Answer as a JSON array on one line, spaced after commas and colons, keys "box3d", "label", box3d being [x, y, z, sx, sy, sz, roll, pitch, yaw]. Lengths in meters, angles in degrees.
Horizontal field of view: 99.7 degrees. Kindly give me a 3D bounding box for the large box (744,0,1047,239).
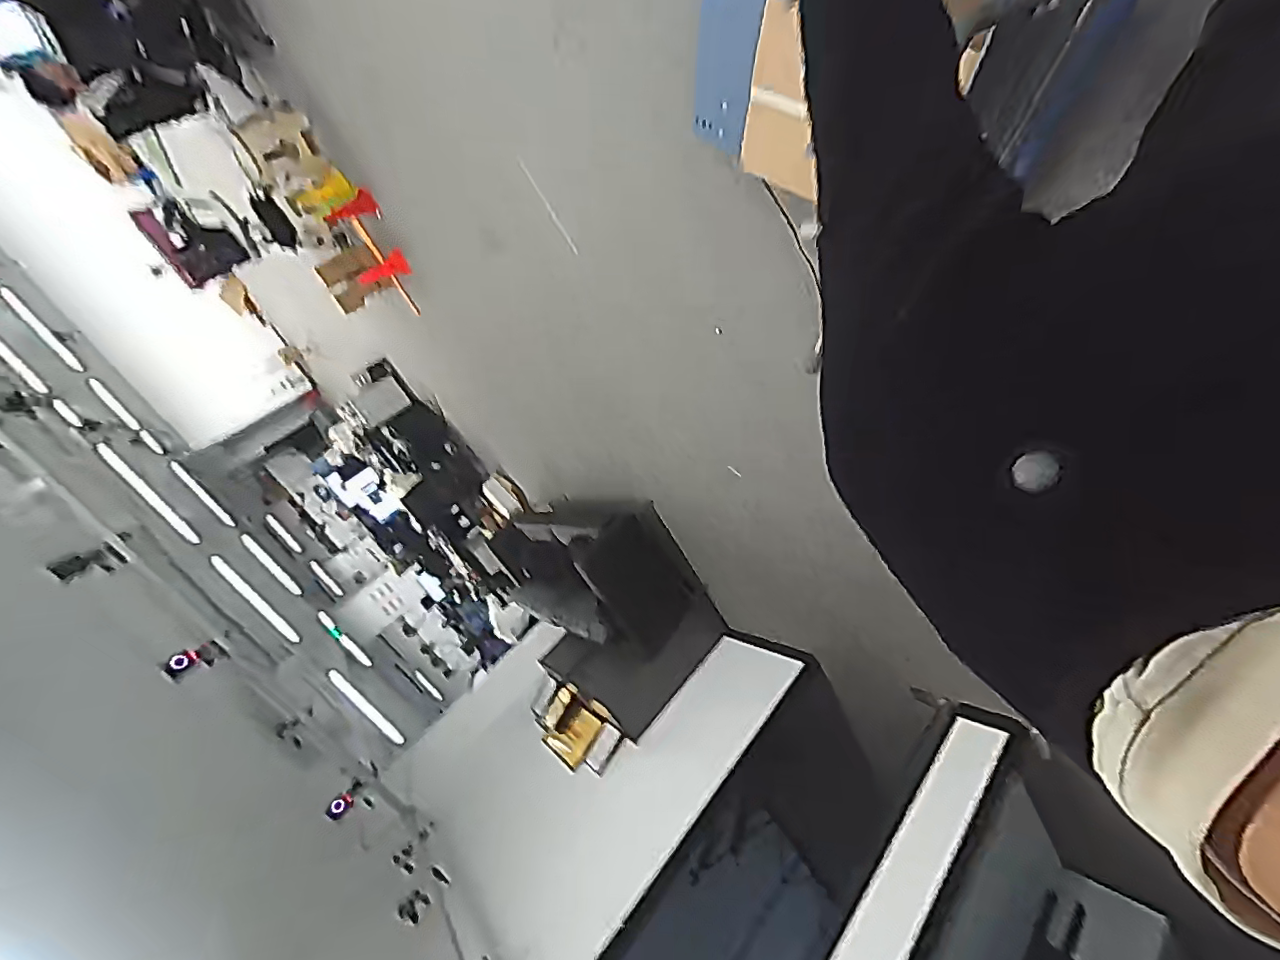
[{"box3d": [0.484, -0.765, 1.096, 0.408, 0.320, 0.320, 38, 152, 22], "label": "large box"}]
